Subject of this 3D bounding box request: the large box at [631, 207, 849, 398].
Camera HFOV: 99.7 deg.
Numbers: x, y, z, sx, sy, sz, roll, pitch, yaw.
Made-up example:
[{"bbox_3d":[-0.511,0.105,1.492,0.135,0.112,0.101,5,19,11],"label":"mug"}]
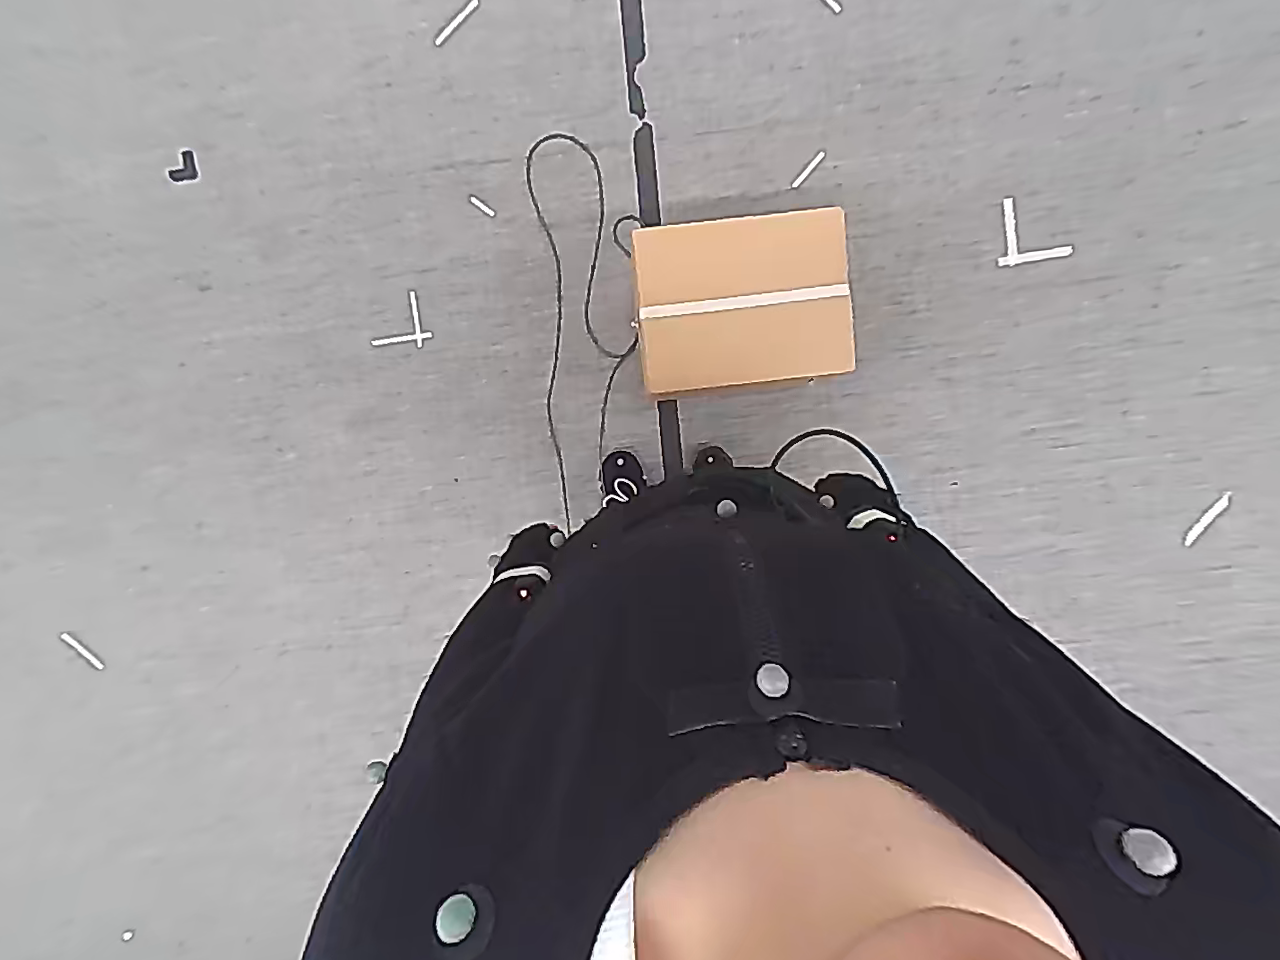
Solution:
[{"bbox_3d":[0.198,-0.361,1.192,0.408,0.320,0.320,-6,95,0],"label":"large box"}]
